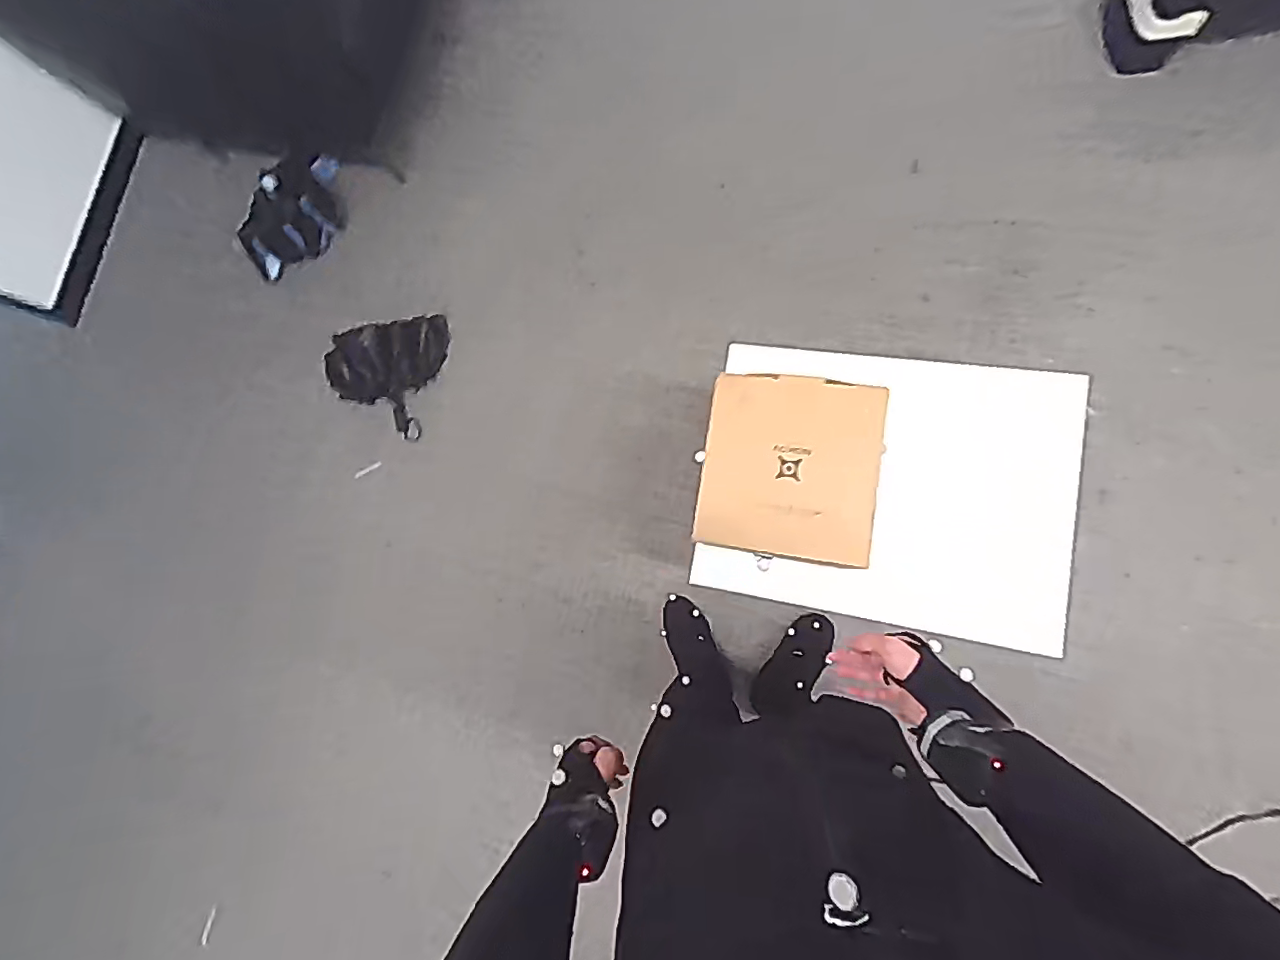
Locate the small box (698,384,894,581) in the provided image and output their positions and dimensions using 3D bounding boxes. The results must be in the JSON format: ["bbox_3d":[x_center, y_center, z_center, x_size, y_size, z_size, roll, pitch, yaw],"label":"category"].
[{"bbox_3d":[0.168,0.009,0.595,0.168,0.176,0.179,7,83,17],"label":"small box"}]
